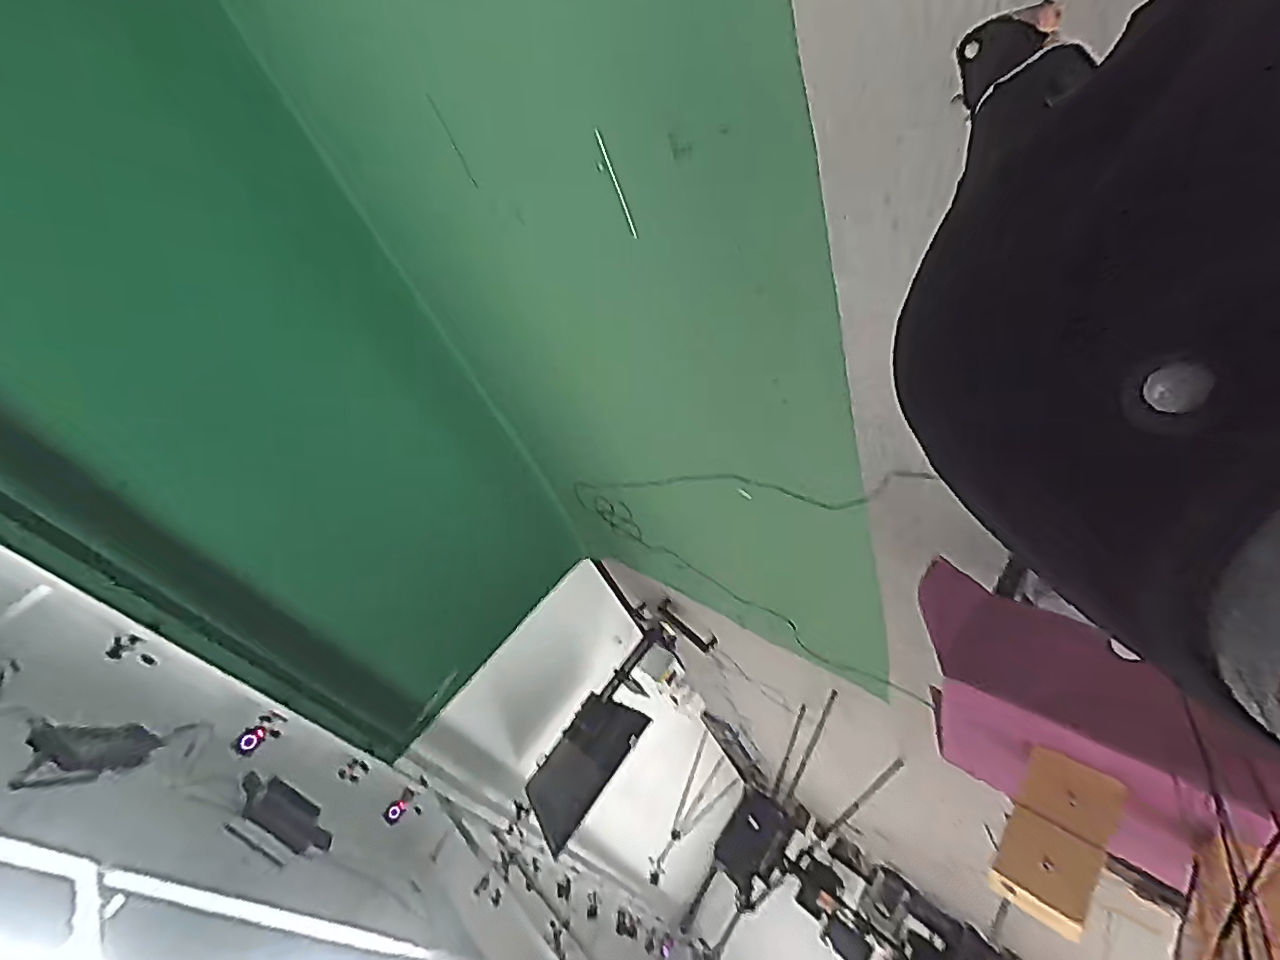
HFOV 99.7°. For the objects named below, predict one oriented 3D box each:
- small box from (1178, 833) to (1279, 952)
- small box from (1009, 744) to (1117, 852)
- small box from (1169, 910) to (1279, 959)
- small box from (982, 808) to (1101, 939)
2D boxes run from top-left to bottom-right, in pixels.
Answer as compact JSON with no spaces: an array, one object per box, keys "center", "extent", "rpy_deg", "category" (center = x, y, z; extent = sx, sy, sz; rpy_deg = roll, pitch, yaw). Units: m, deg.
[{"center":[1.256,0.870,1.101],"extent":[0.179,0.176,0.168],"rpy_deg":[22,149,42],"category":"small box"},{"center":[1.022,0.784,1.313],"extent":[0.179,0.176,0.168],"rpy_deg":[17,145,44],"category":"small box"},{"center":[1.149,0.976,1.041],"extent":[0.168,0.176,0.179],"rpy_deg":[21,149,43],"category":"small box"},{"center":[0.919,0.892,1.244],"extent":[0.179,0.176,0.168],"rpy_deg":[18,147,43],"category":"small box"}]
